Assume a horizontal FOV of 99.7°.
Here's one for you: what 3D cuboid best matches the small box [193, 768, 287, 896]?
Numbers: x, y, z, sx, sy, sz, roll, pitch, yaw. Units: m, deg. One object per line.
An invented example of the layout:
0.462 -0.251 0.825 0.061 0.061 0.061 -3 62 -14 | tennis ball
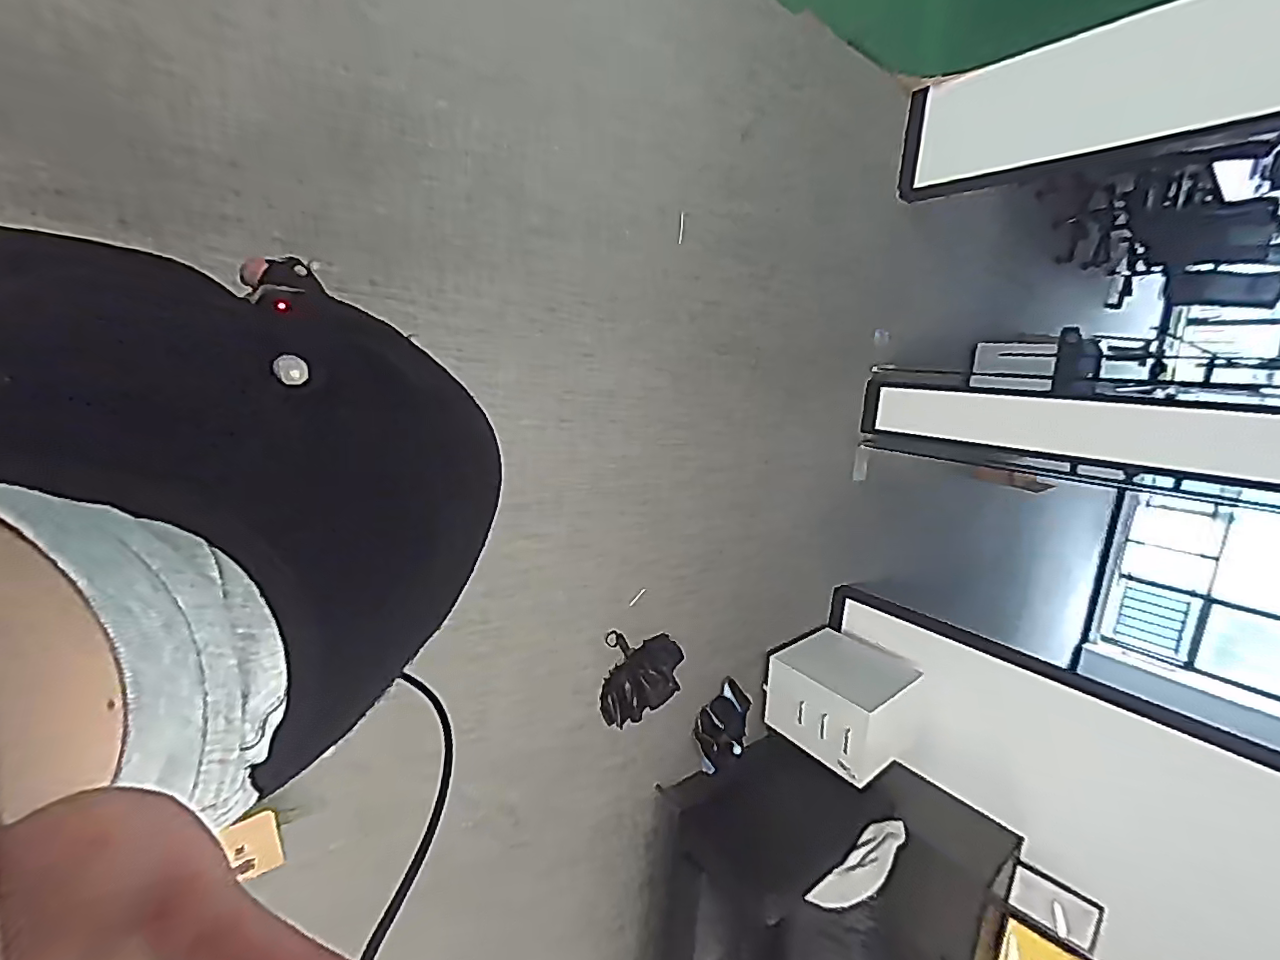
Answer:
-1.019 0.886 1.379 0.168 0.176 0.179 -13 109 -37 | small box
